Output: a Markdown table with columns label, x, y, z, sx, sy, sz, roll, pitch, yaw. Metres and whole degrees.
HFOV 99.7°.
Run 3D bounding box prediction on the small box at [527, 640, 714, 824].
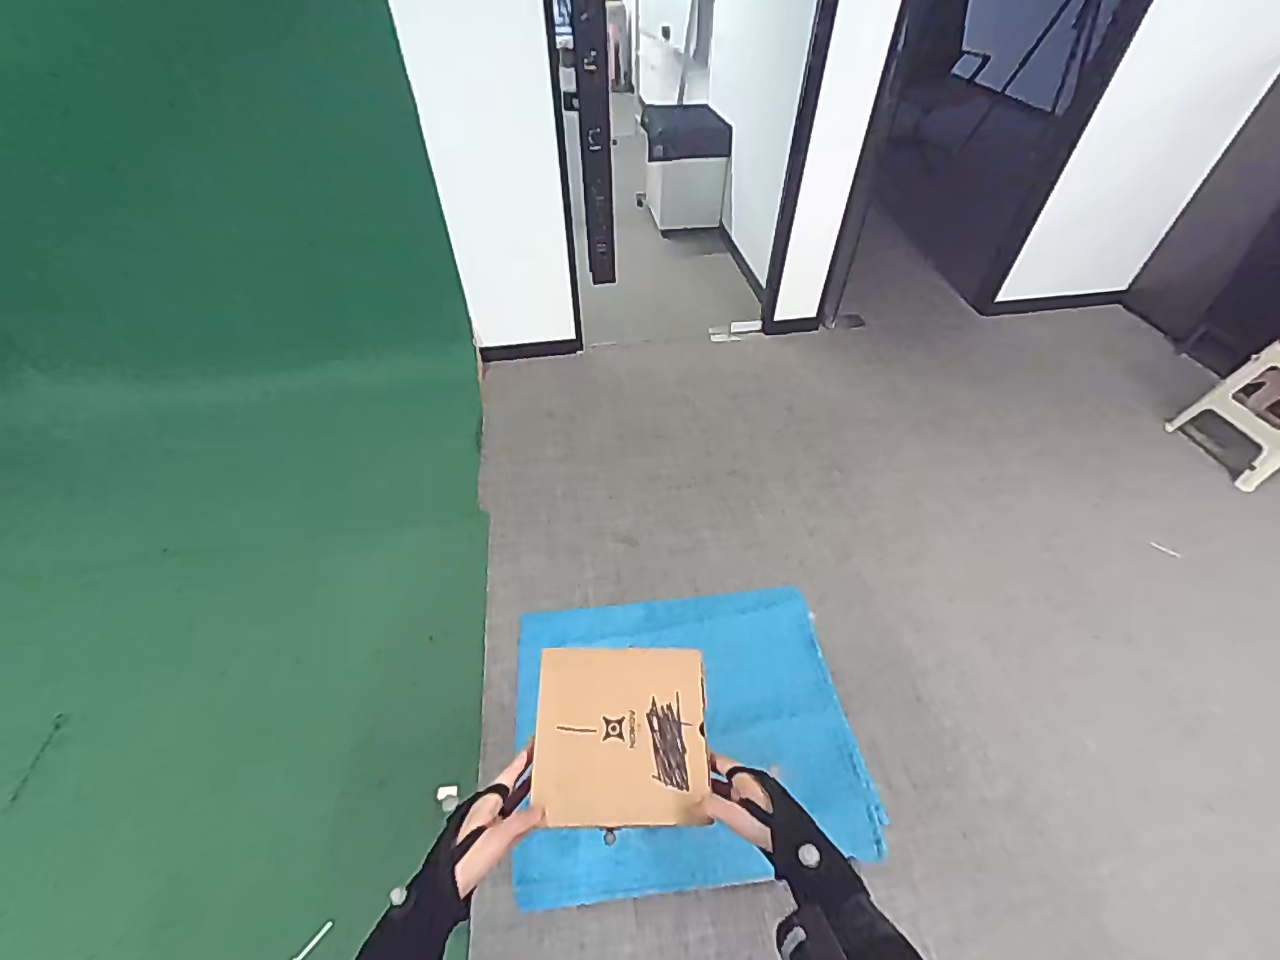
| label | x | y | z | sx | sy | sz | roll | pitch | yaw |
| --- | --- | --- | --- | --- | --- | --- | --- | --- | --- |
| small box | -0.025 | 0.286 | 0.607 | 0.179 | 0.176 | 0.168 | 2 | 56 | -5 |
